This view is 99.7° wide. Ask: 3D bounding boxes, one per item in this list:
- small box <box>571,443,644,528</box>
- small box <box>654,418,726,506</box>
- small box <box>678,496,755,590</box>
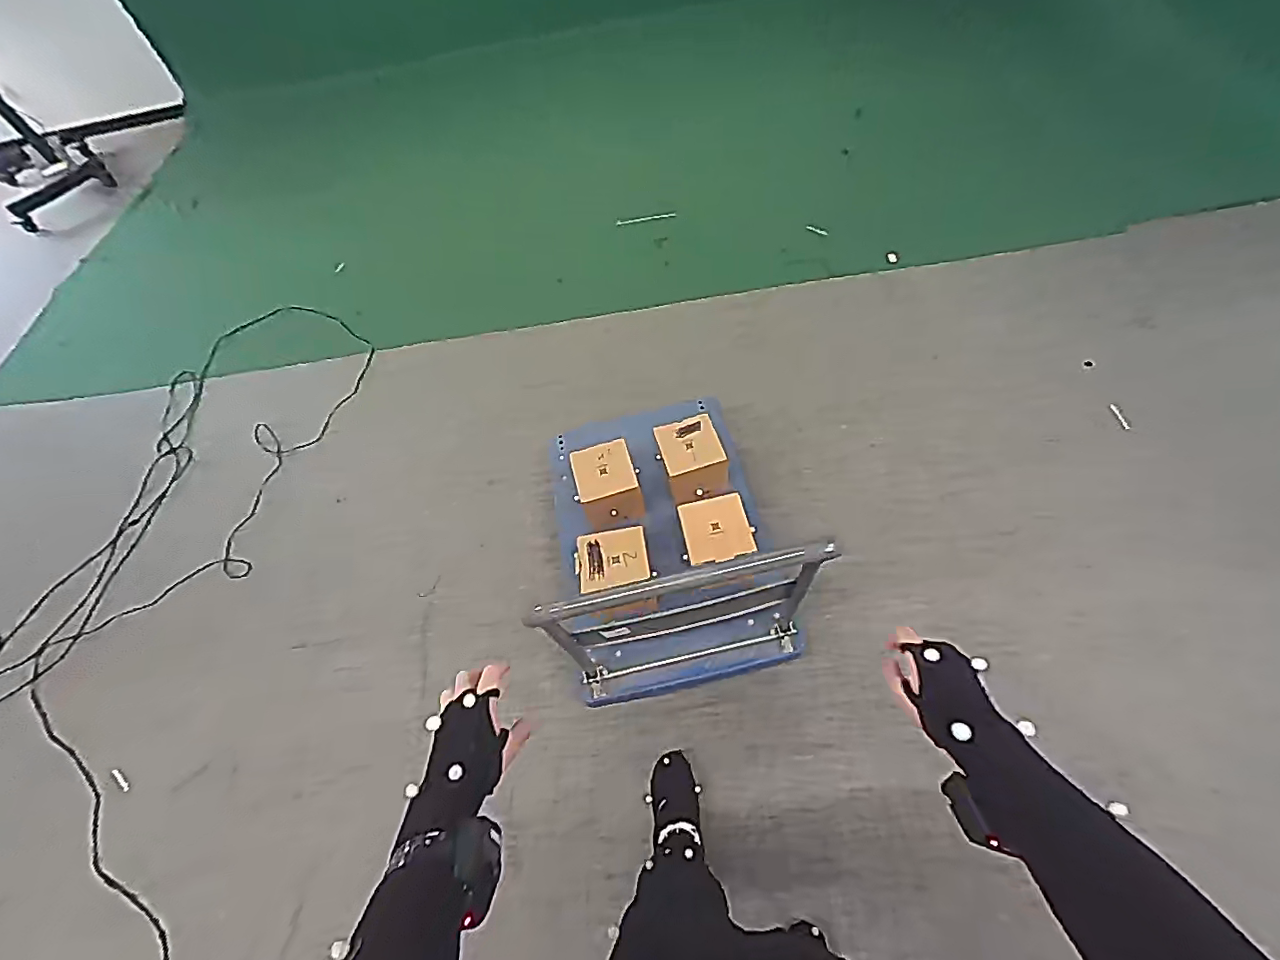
[{"bbox_3d":[-0.093,0.023,1.587,0.168,0.176,0.179,-16,57,-2],"label":"small box"},{"bbox_3d":[0.148,-0.050,1.595,0.168,0.176,0.179,-17,58,-1],"label":"small box"},{"bbox_3d":[0.202,0.172,1.450,0.168,0.176,0.179,-13,58,0],"label":"small box"}]
